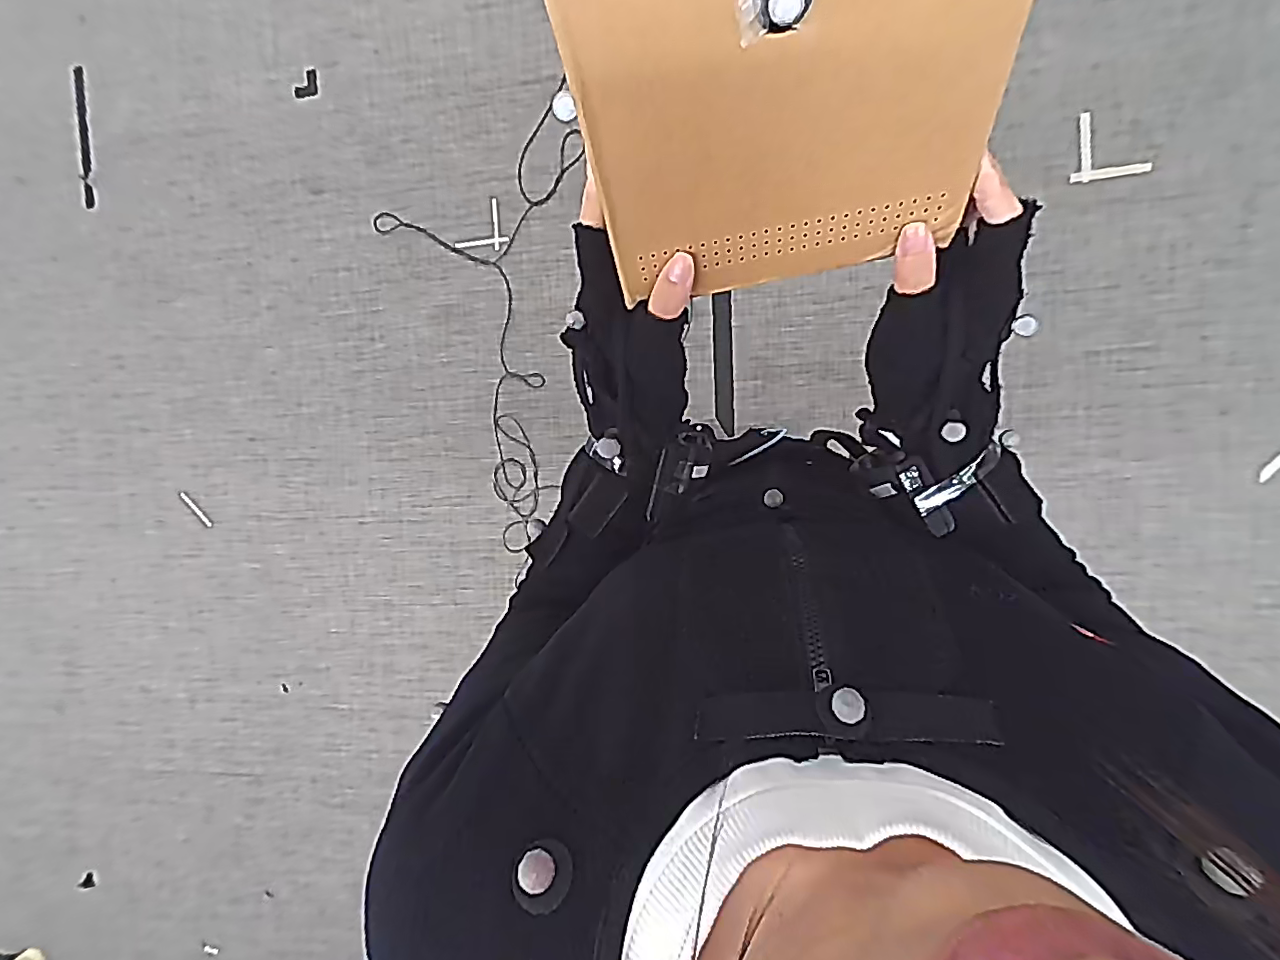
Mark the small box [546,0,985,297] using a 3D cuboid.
[{"bbox_3d":[0.059,-0.222,0.286,0.179,0.176,0.168,-8,57,8],"label":"small box"}]
